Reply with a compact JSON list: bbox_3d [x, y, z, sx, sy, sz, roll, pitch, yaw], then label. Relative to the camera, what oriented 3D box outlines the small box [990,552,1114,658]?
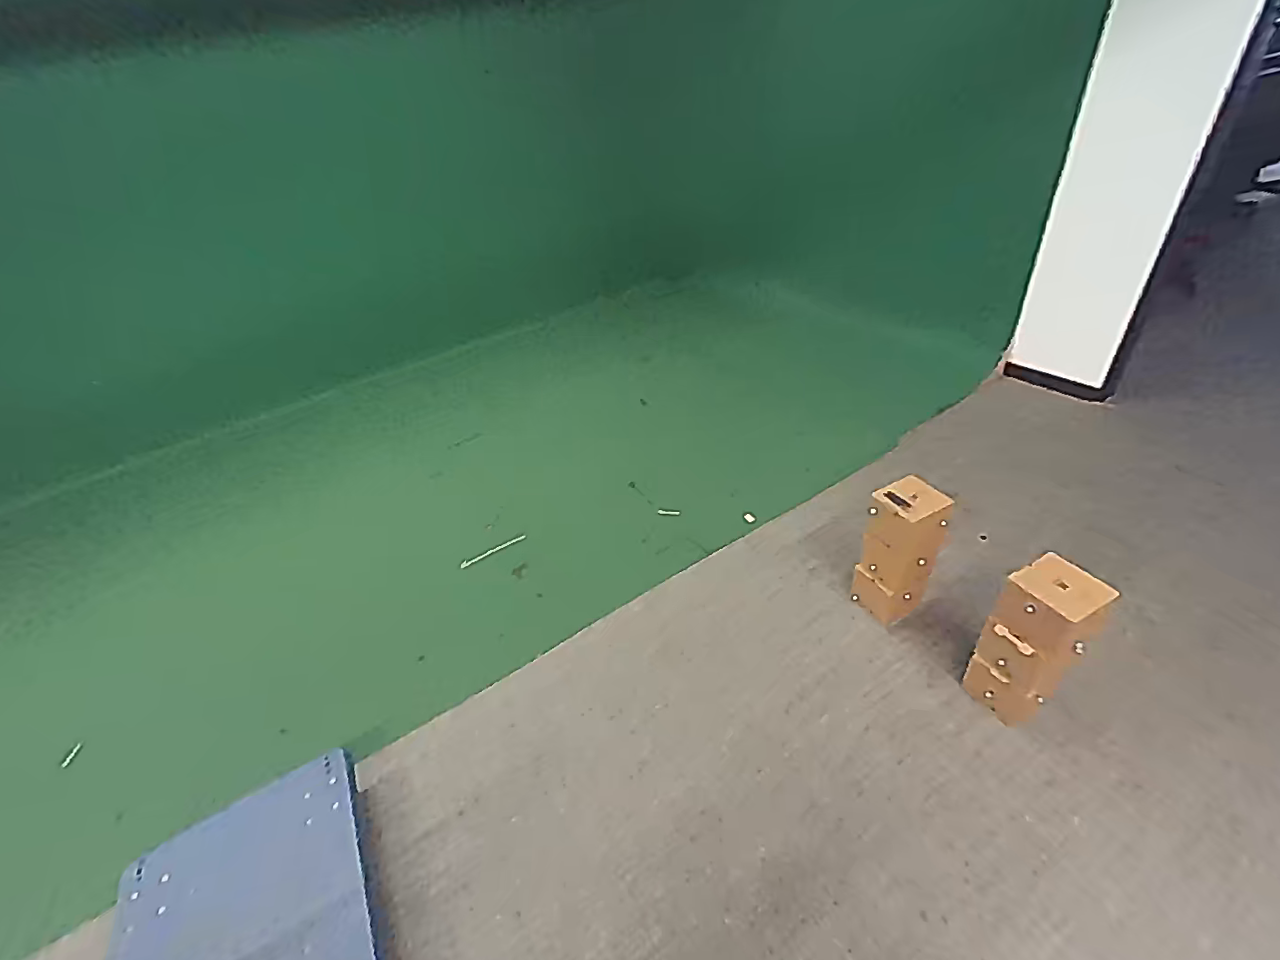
[{"bbox_3d":[1.059,0.326,1.408,0.168,0.176,0.179,-22,39,-15],"label":"small box"}]

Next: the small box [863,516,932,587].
[{"bbox_3d":[0.868,0.243,1.839,0.168,0.176,0.179,-4,37,10],"label":"small box"}]

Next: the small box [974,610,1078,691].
[{"bbox_3d":[1.077,0.450,1.512,0.179,0.176,0.168,-21,38,-15],"label":"small box"}]

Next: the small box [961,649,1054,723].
[{"bbox_3d":[1.090,0.582,1.609,0.179,0.176,0.168,-25,40,-18],"label":"small box"}]

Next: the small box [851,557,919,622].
[{"bbox_3d":[0.873,0.372,1.926,0.179,0.176,0.168,-21,40,-17],"label":"small box"}]
